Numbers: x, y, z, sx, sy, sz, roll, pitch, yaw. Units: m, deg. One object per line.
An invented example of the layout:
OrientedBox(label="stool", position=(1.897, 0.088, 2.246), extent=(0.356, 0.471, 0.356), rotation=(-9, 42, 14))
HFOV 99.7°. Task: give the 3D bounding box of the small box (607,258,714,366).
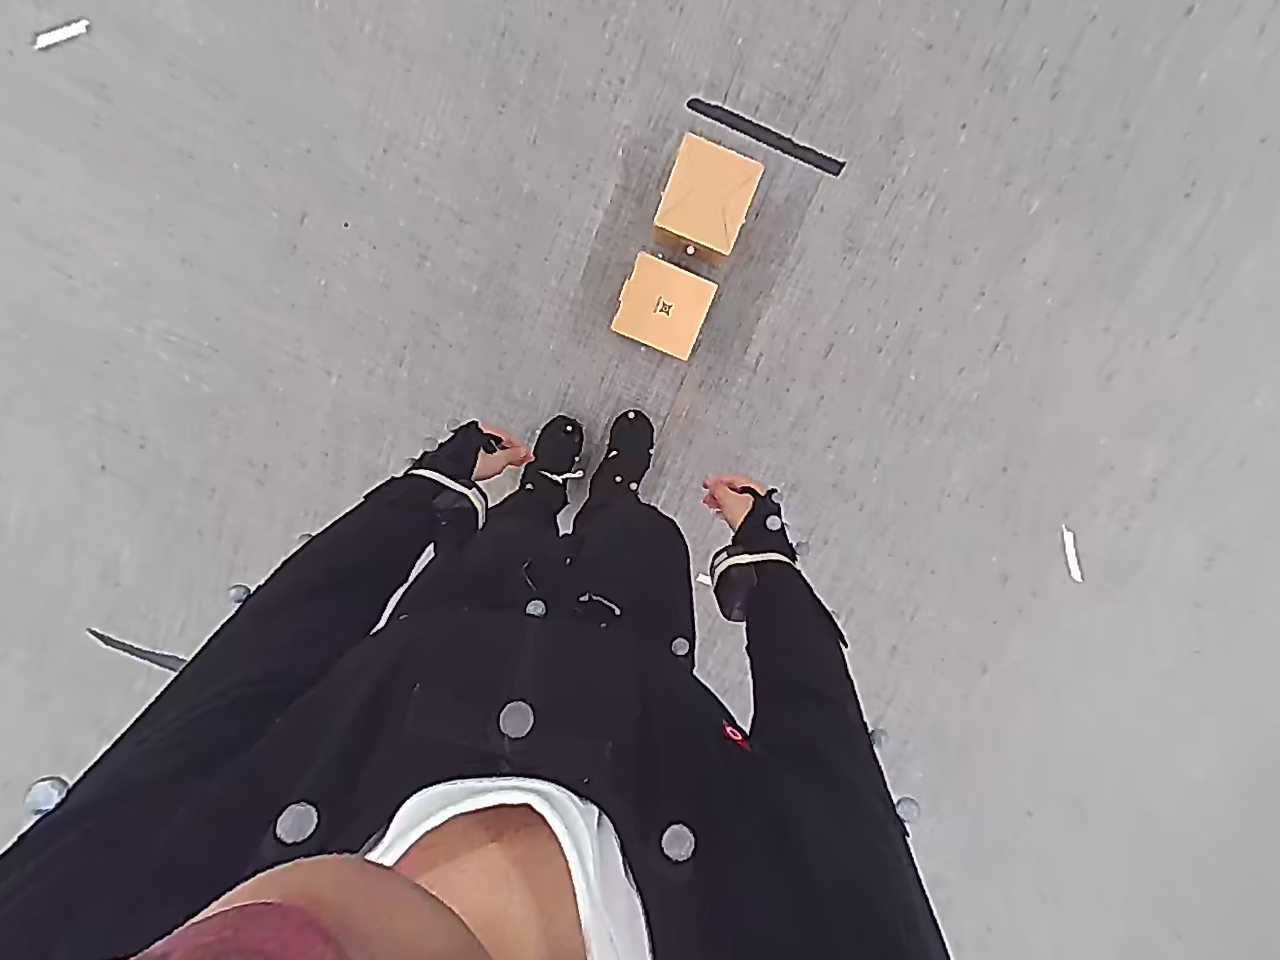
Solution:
OrientedBox(label="small box", position=(0.043, -0.365, 1.191), extent=(0.179, 0.176, 0.168), rotation=(22, 103, -4))

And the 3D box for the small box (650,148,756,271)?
OrientedBox(label="small box", position=(0.128, -0.565, 1.138), extent=(0.168, 0.176, 0.179), rotation=(21, 102, -3))
